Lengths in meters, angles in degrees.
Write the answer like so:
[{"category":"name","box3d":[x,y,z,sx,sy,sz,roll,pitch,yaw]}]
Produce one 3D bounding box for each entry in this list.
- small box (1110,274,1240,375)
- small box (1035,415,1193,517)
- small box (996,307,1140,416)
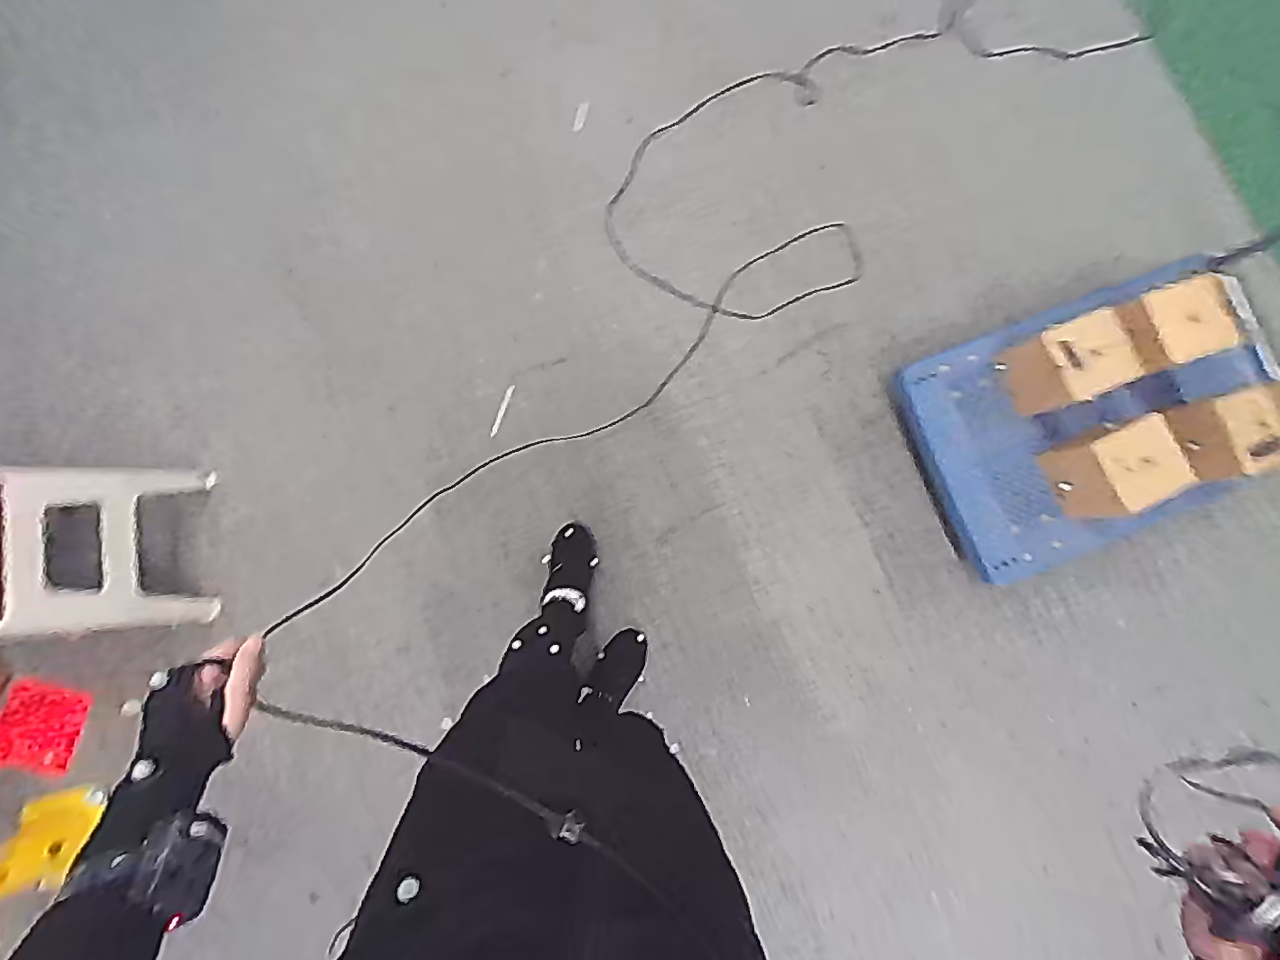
[{"category":"small box","box3d":[1.196,-0.344,1.256,0.179,0.176,0.168,-19,86,-4]},{"category":"small box","box3d":[1.055,-0.026,1.218,0.179,0.176,0.168,-25,85,-4]},{"category":"small box","box3d":[0.962,-0.263,1.238,0.179,0.176,0.168,-22,86,-5]}]
